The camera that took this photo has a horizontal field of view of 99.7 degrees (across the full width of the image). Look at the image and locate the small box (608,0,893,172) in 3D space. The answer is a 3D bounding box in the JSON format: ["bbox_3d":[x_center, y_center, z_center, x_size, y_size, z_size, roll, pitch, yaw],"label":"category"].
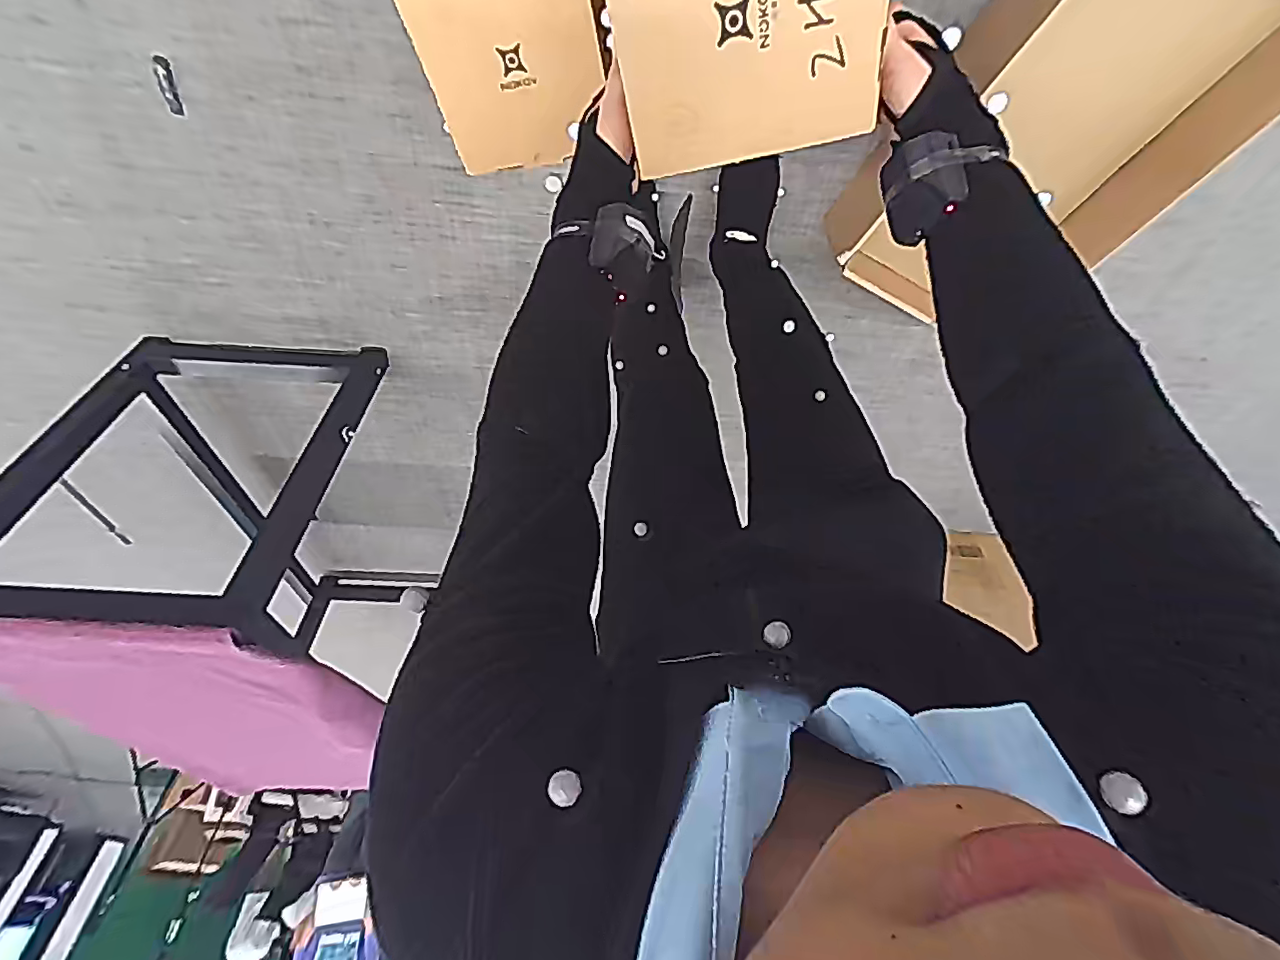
[{"bbox_3d":[0.072,-0.355,0.390,0.179,0.176,0.168,-7,140,10],"label":"small box"}]
